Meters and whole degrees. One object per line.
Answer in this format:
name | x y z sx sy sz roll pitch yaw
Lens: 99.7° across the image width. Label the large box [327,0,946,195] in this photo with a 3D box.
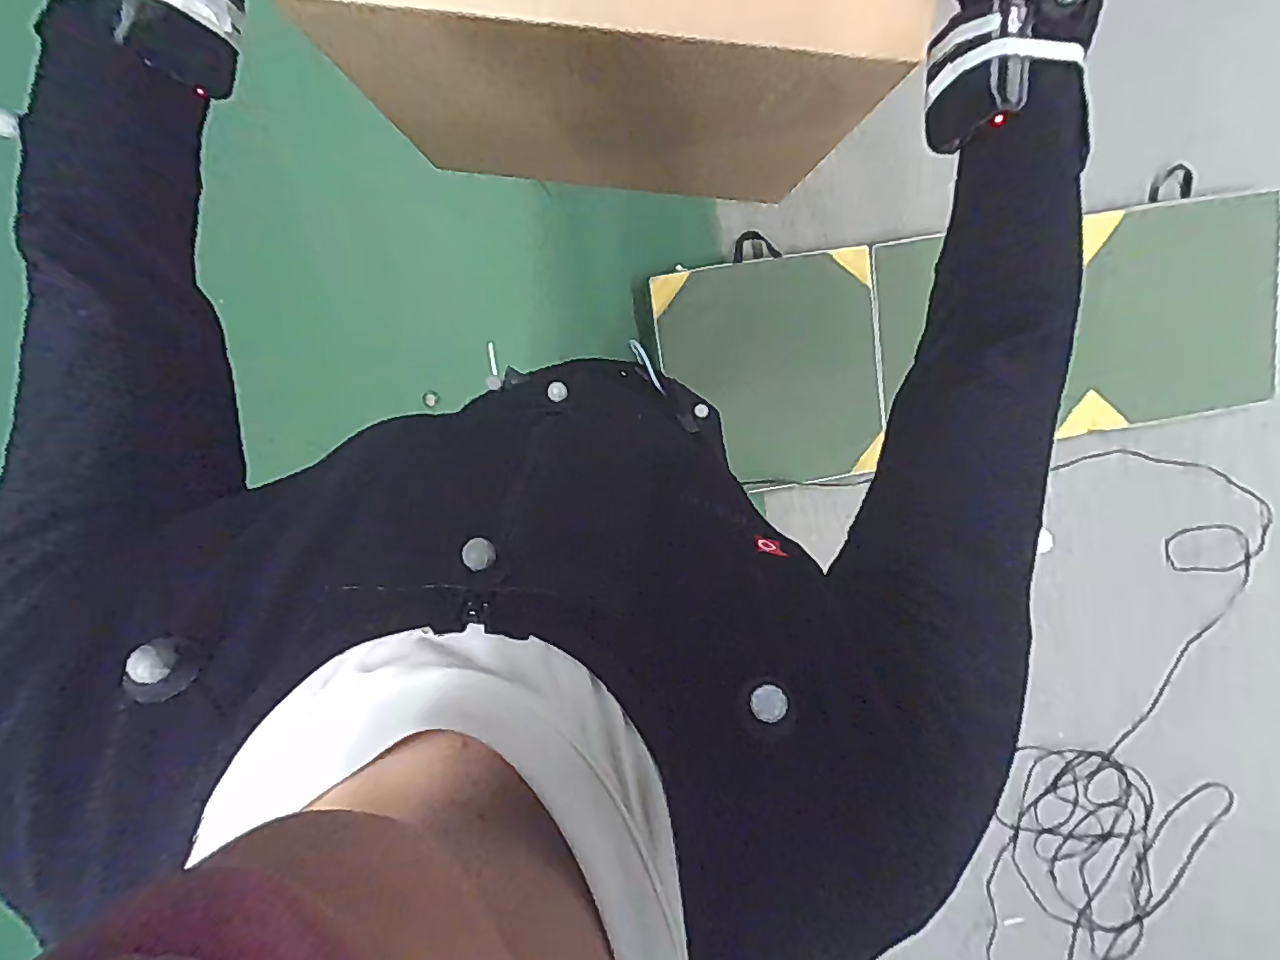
large box | -0.003 -0.464 0.452 0.408 0.320 0.320 4 103 -4
